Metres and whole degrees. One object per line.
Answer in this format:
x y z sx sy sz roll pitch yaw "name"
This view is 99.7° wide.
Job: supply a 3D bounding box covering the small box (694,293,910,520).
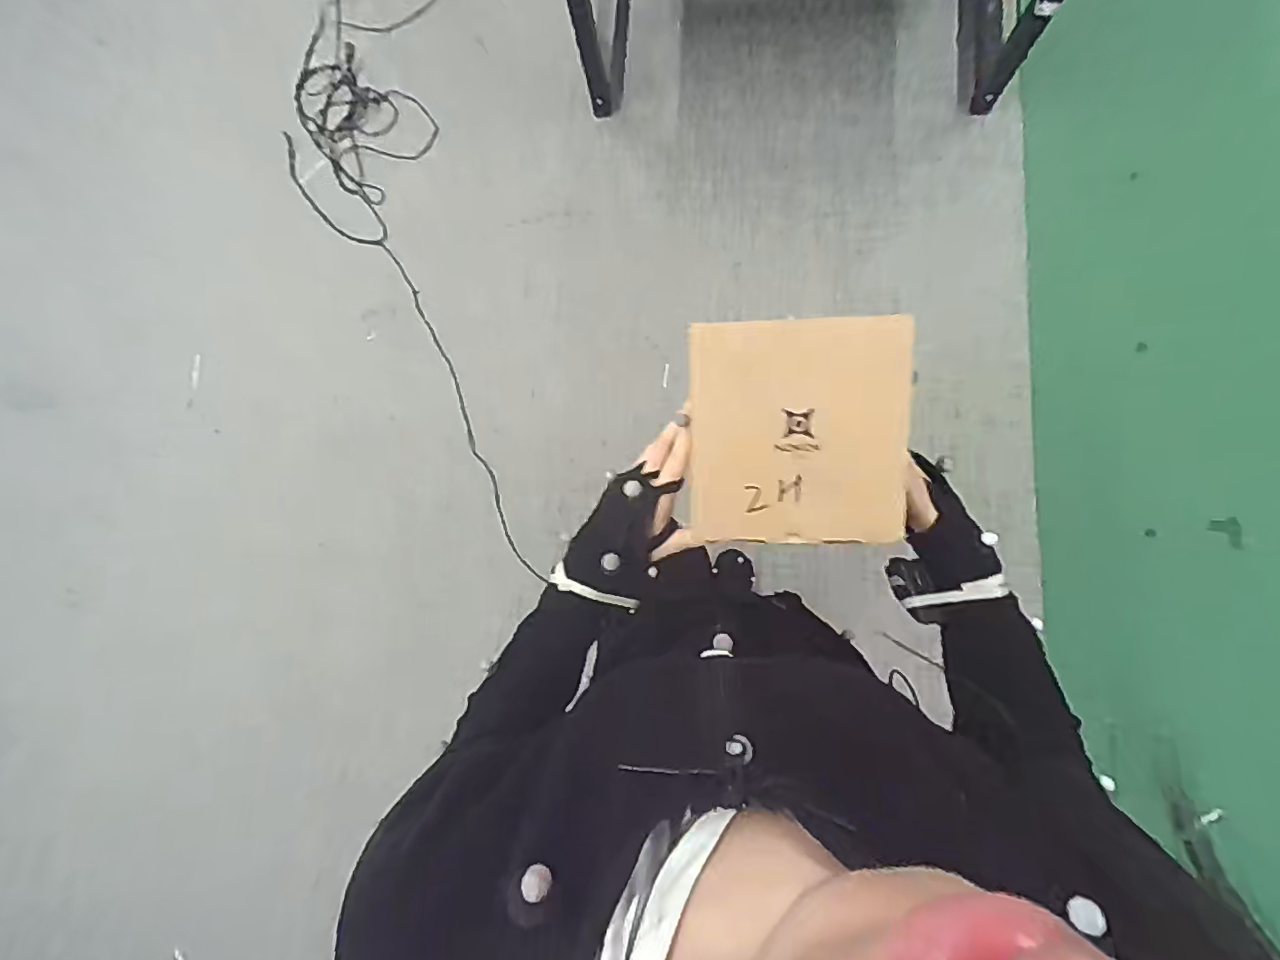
0.134 -0.064 0.503 0.168 0.176 0.179 -1 98 8 "small box"
